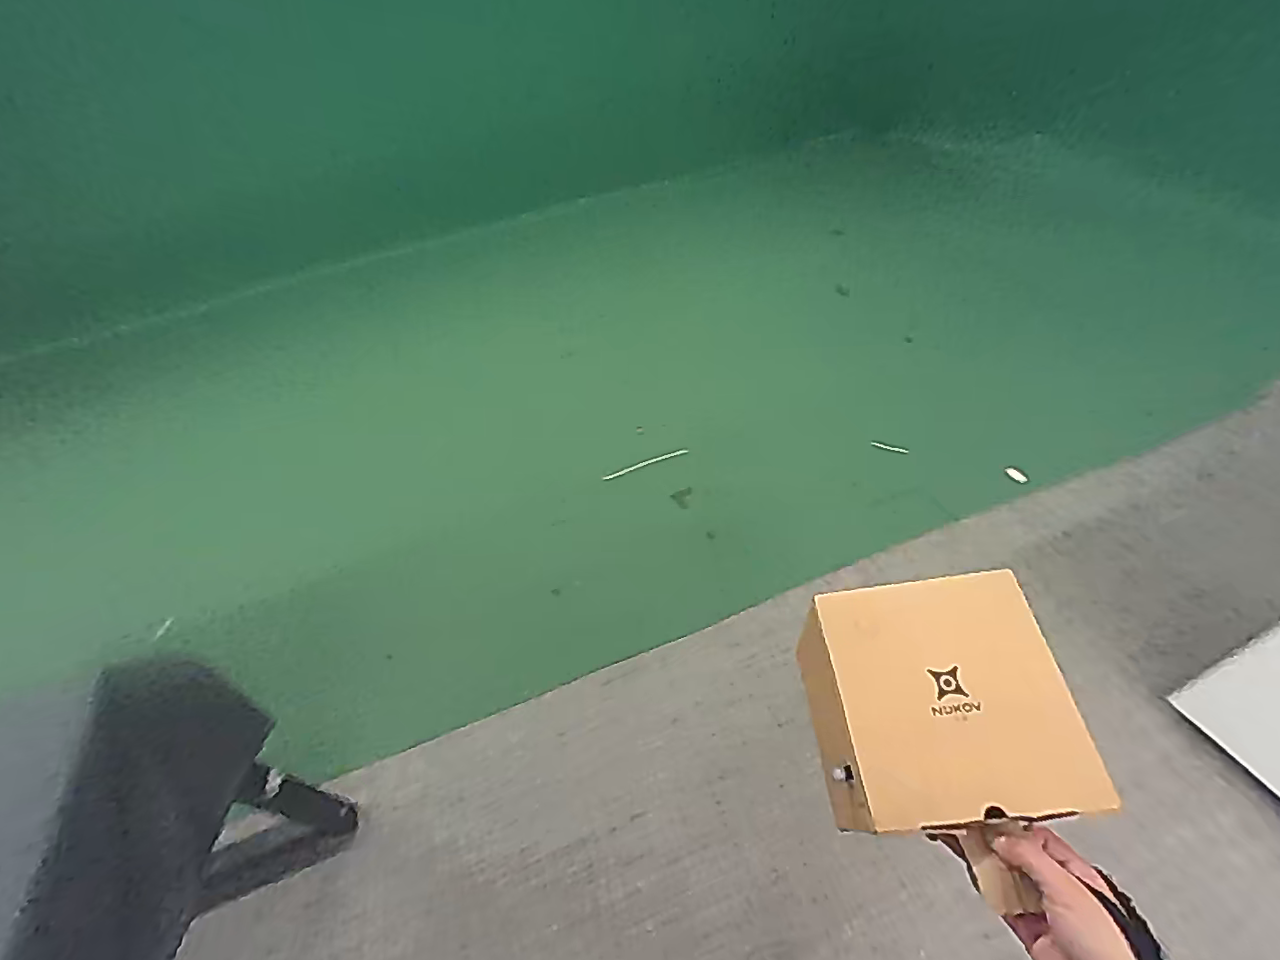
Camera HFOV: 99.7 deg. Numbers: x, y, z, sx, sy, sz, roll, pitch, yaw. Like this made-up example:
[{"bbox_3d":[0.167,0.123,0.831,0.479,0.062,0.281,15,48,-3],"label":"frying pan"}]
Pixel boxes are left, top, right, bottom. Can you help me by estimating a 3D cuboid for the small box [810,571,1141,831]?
[{"bbox_3d":[0.258,0.199,0.476,0.168,0.176,0.179,-8,59,5],"label":"small box"}]
